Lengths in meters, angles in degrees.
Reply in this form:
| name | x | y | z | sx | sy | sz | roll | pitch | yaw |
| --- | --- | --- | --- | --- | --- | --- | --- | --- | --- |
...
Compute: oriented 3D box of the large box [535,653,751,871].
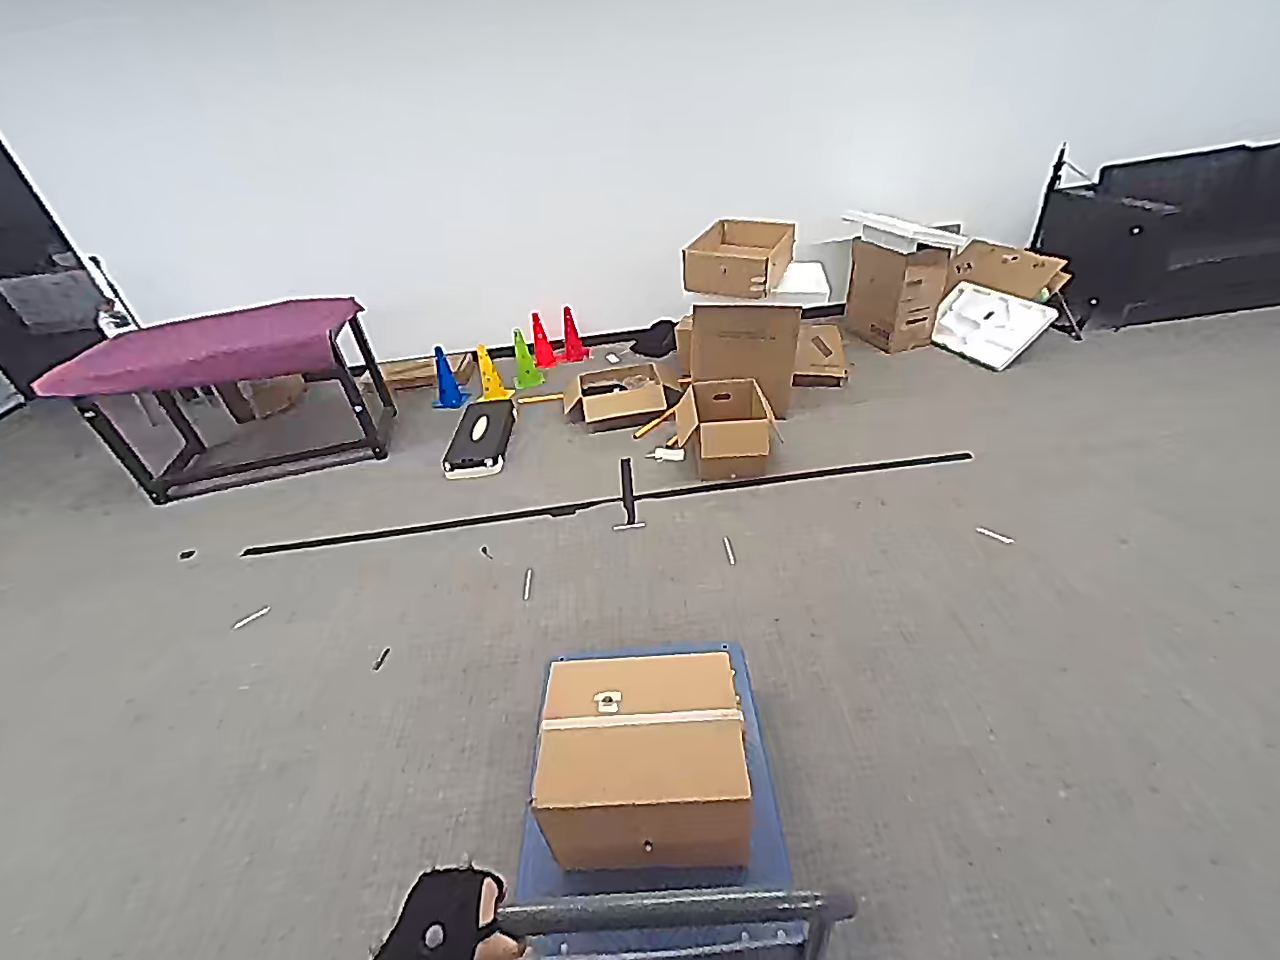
| name | x | y | z | sx | sy | sz | roll | pitch | yaw |
| --- | --- | --- | --- | --- | --- | --- | --- | --- | --- |
| large box | 0.018 | 0.622 | 1.196 | 0.408 | 0.320 | 0.320 | -6 | 35 | 3 |
